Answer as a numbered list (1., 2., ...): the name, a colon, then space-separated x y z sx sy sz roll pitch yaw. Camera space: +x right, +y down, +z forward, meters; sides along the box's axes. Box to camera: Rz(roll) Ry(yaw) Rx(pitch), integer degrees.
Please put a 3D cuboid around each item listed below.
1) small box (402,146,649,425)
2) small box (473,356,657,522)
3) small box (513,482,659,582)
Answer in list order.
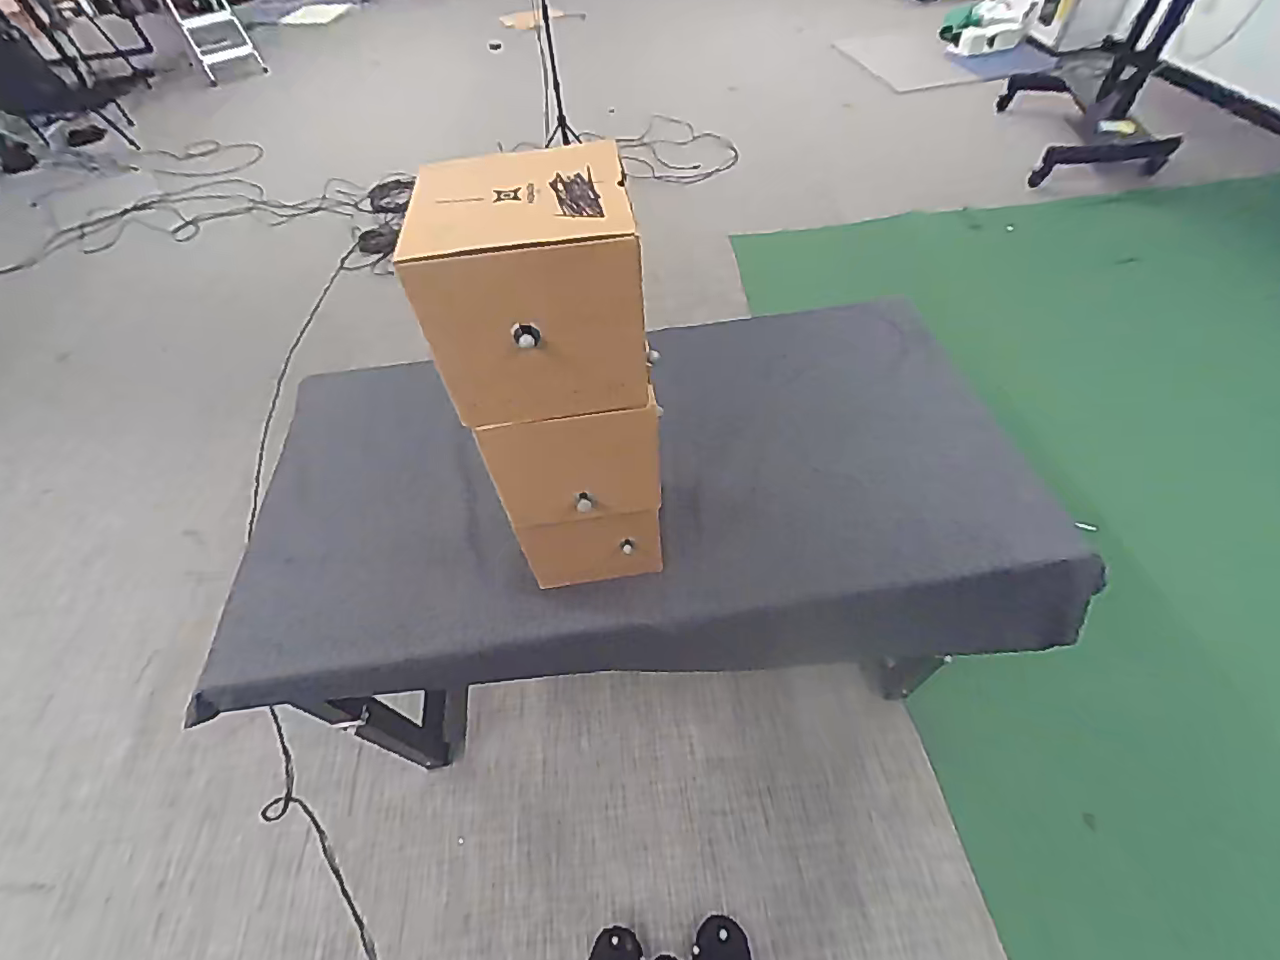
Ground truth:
1. small box: -0.090 -0.170 0.489 0.179 0.176 0.168 -9 53 -4
2. small box: -0.077 -0.070 0.619 0.179 0.176 0.168 -8 52 -2
3. small box: -0.070 0.024 0.752 0.179 0.176 0.168 -9 52 -1
